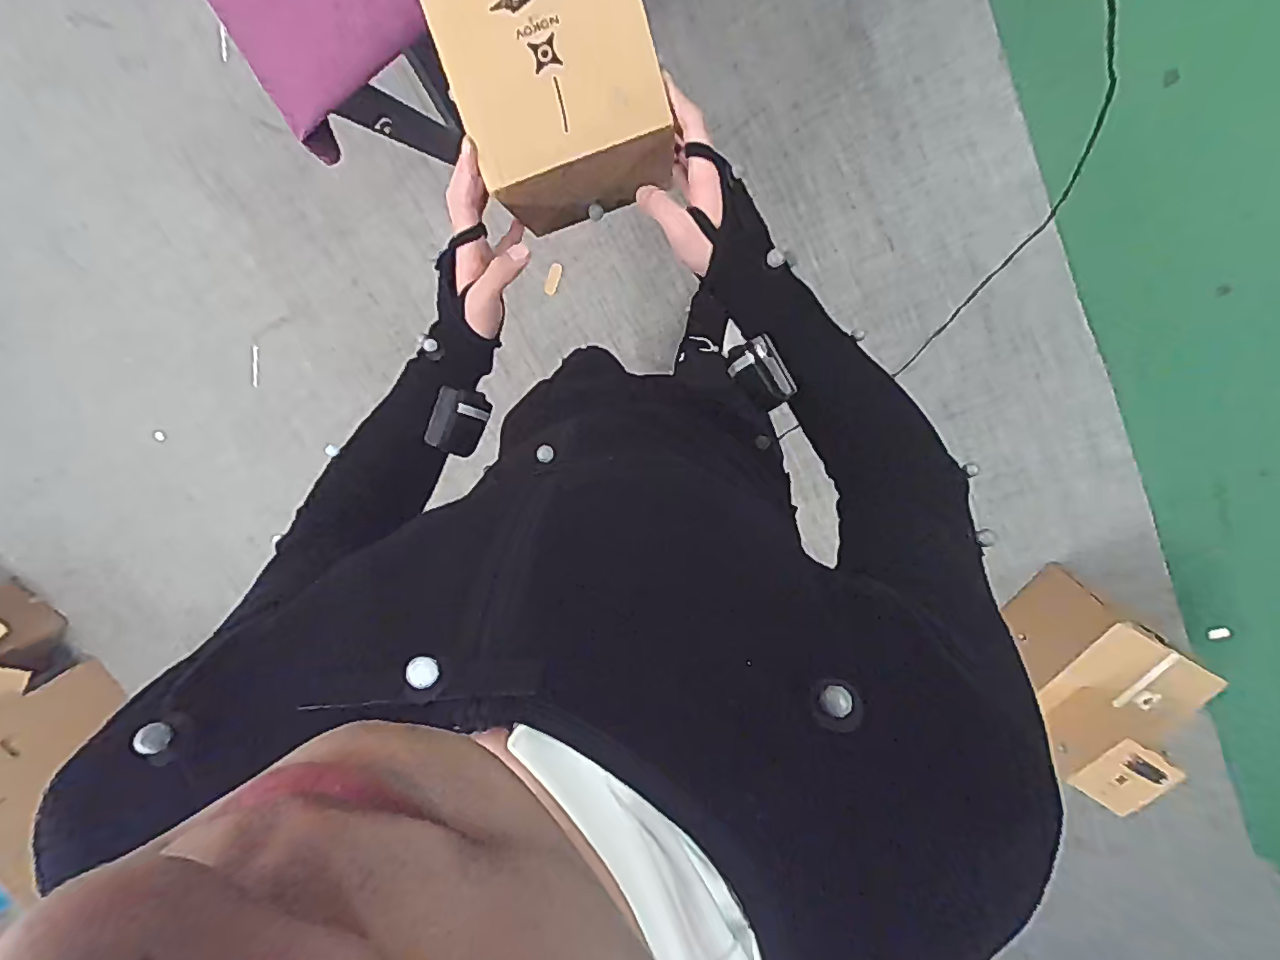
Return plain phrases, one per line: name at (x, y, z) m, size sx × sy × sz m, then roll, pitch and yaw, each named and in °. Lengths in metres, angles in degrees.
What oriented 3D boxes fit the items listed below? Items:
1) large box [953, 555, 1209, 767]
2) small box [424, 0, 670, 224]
large box at (1.190, 0.494, 1.519) m, size 0.320 × 0.320 × 0.408 m, roll 29°, pitch 111°, yaw -3°
small box at (-0.073, -0.368, 0.501) m, size 0.168 × 0.176 × 0.179 m, roll -16°, pitch 102°, yaw 7°
